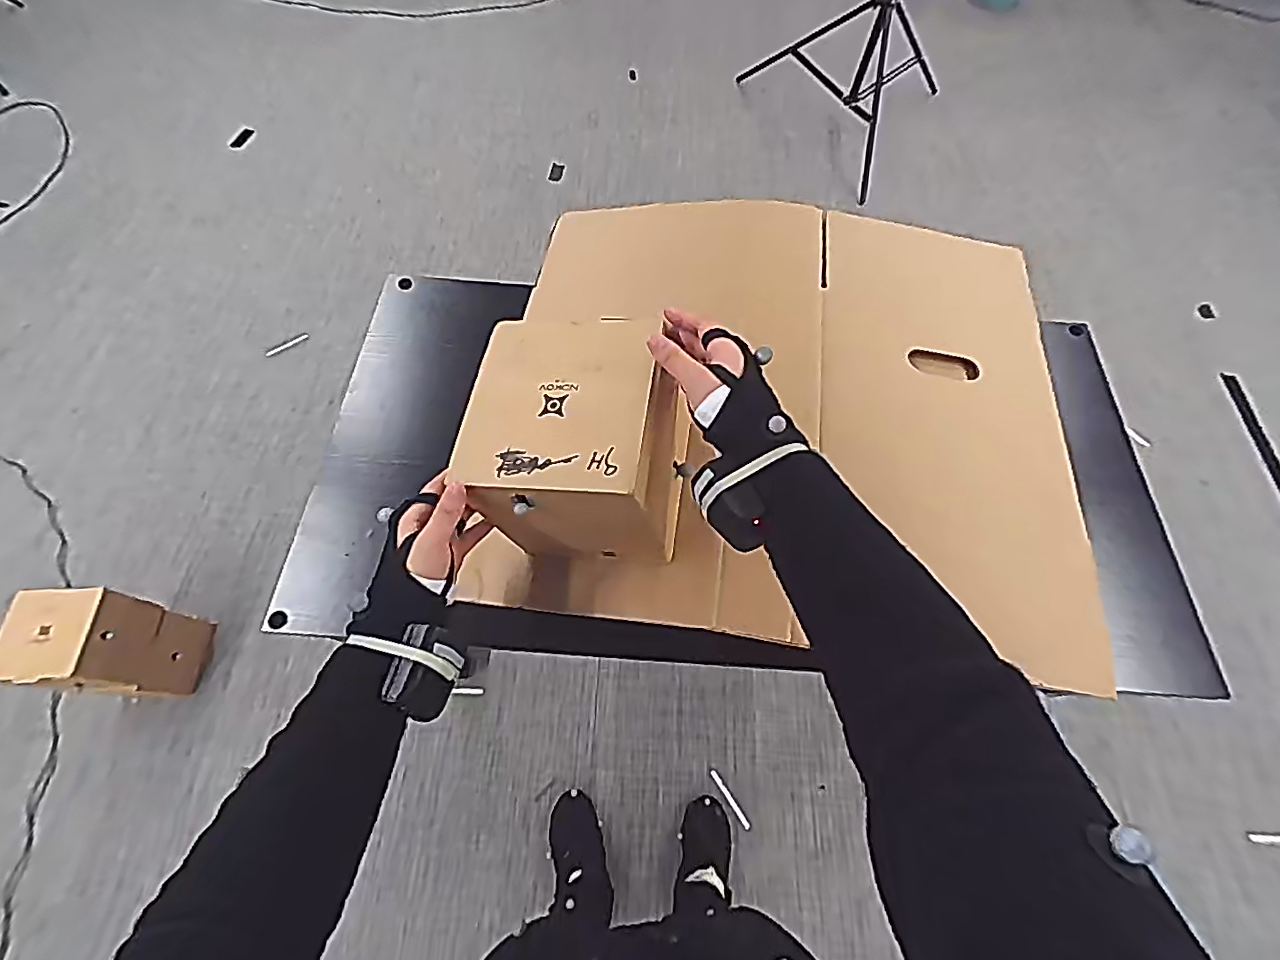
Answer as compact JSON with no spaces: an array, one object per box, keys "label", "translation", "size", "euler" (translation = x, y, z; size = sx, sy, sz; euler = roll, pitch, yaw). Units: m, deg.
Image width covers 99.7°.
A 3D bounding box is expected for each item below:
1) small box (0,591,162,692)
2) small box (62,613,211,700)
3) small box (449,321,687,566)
[{"label":"small box","translation":[-1.153,0.339,1.118],"size":[0.168,0.176,0.179],"euler":[-2,63,-4]},{"label":"small box","translation":[-1.156,0.415,1.262],"size":[0.168,0.176,0.179],"euler":[0,65,-2]},{"label":"small box","translation":[-0.051,-0.031,0.530],"size":[0.168,0.176,0.179],"euler":[2,63,15]}]
